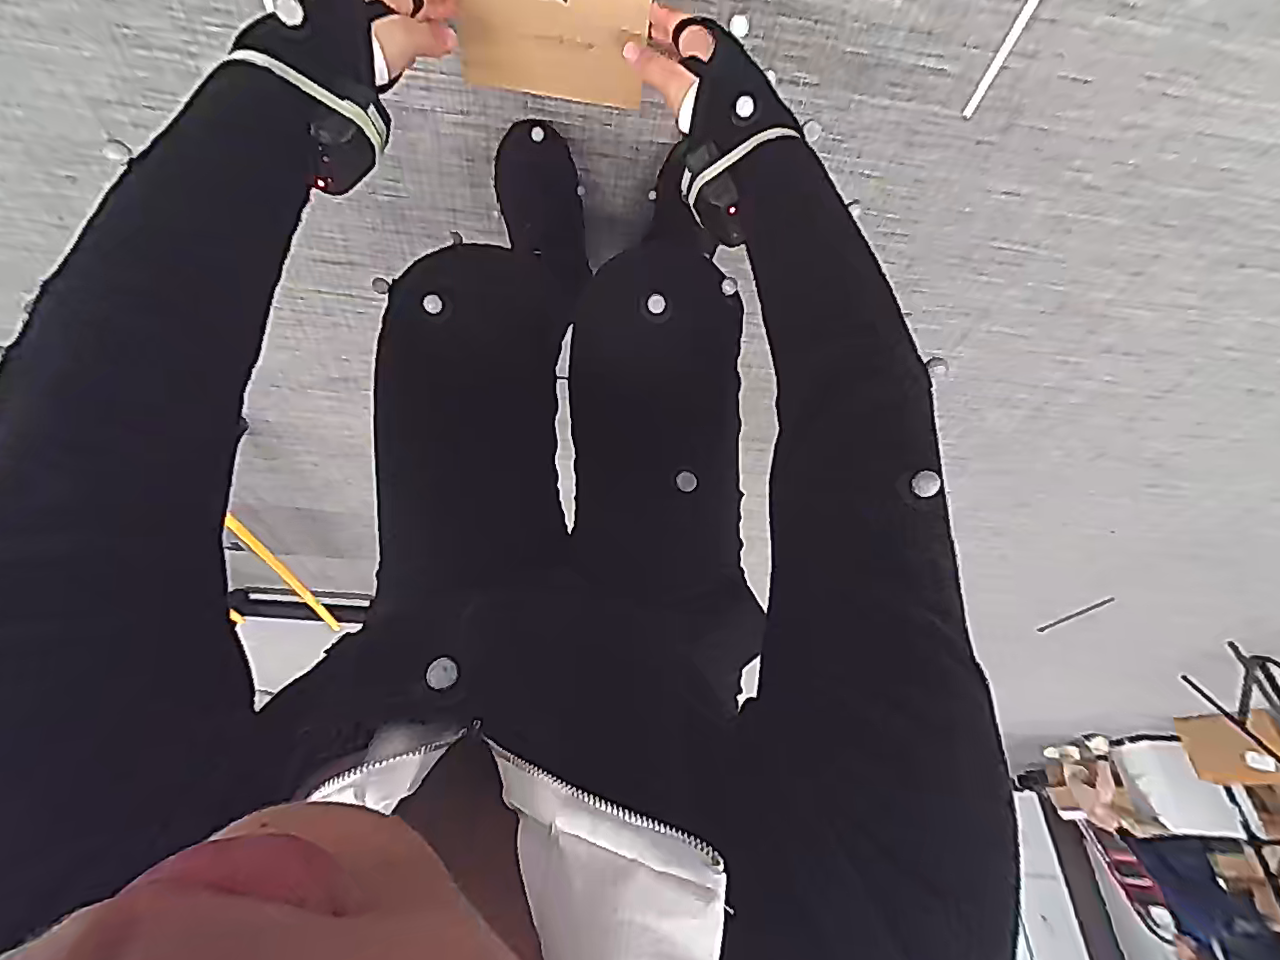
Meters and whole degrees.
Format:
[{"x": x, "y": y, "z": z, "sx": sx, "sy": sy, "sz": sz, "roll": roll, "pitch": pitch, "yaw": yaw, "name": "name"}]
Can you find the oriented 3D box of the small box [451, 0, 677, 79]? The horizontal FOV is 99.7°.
[{"x": -0.046, "y": -0.441, "z": 0.394, "sx": 0.168, "sy": 0.176, "sz": 0.179, "roll": 7, "pitch": 148, "yaw": -5, "name": "small box"}]
